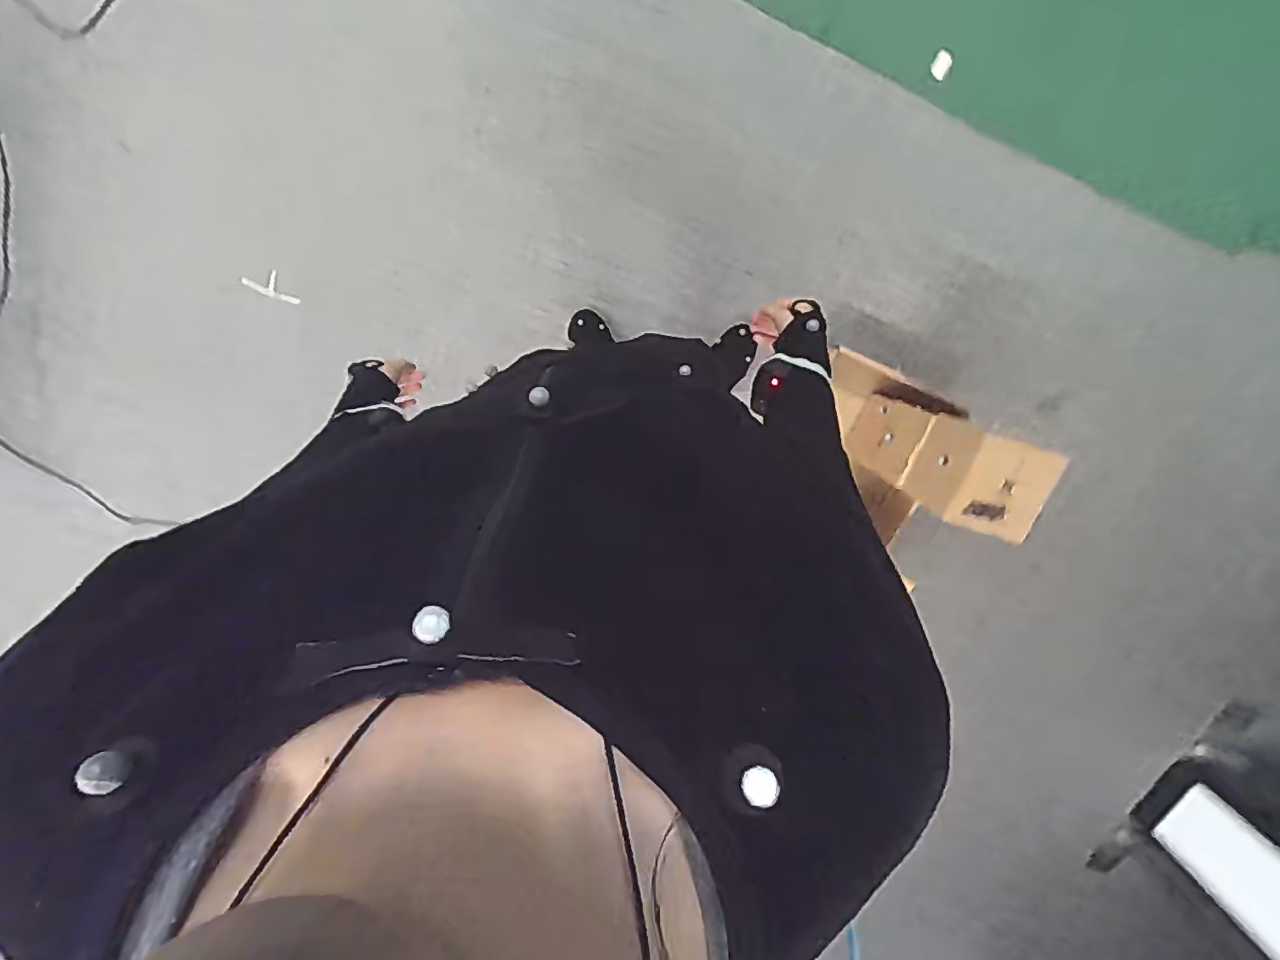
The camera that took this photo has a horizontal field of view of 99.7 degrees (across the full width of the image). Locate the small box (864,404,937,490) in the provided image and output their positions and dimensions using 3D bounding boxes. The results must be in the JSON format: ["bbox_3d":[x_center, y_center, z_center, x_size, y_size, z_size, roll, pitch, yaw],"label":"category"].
[{"bbox_3d":[0.639,-0.057,1.204,0.179,0.176,0.168,21,107,-6],"label":"small box"}]

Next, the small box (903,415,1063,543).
[{"bbox_3d":[0.645,-0.008,1.047,0.168,0.176,0.179,18,107,-6],"label":"small box"}]
